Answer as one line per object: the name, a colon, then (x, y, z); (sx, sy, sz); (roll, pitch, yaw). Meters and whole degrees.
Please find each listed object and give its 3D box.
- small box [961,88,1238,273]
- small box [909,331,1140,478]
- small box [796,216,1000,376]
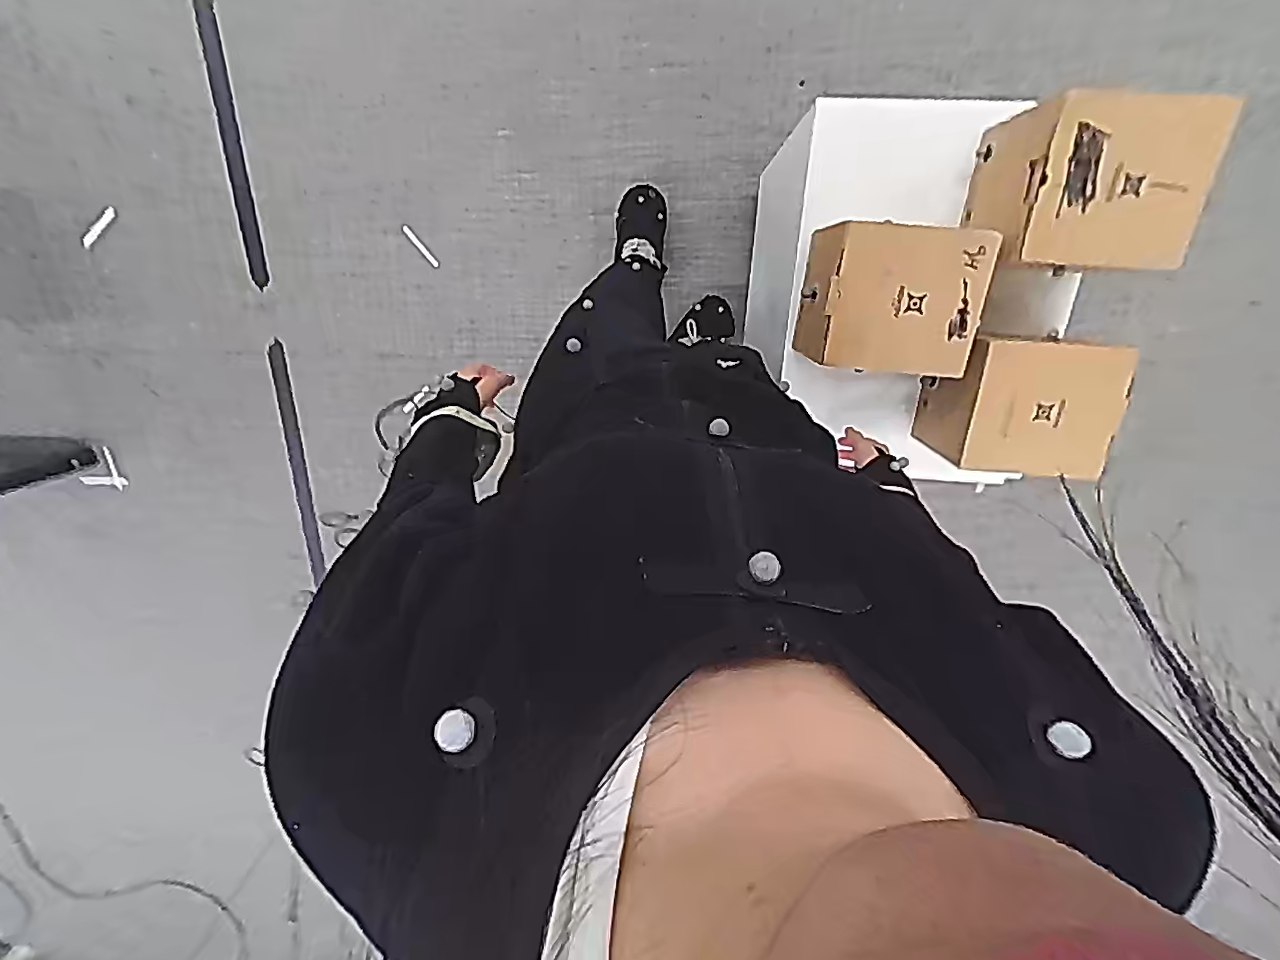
small box: (0.518, -0.344, 0.651); (0.179, 0.176, 0.168); (5, 111, 2)
small box: (0.503, -0.112, 0.741); (0.179, 0.176, 0.168); (5, 110, 4)
small box: (0.315, -0.238, 0.707); (0.179, 0.176, 0.168); (6, 111, 2)
